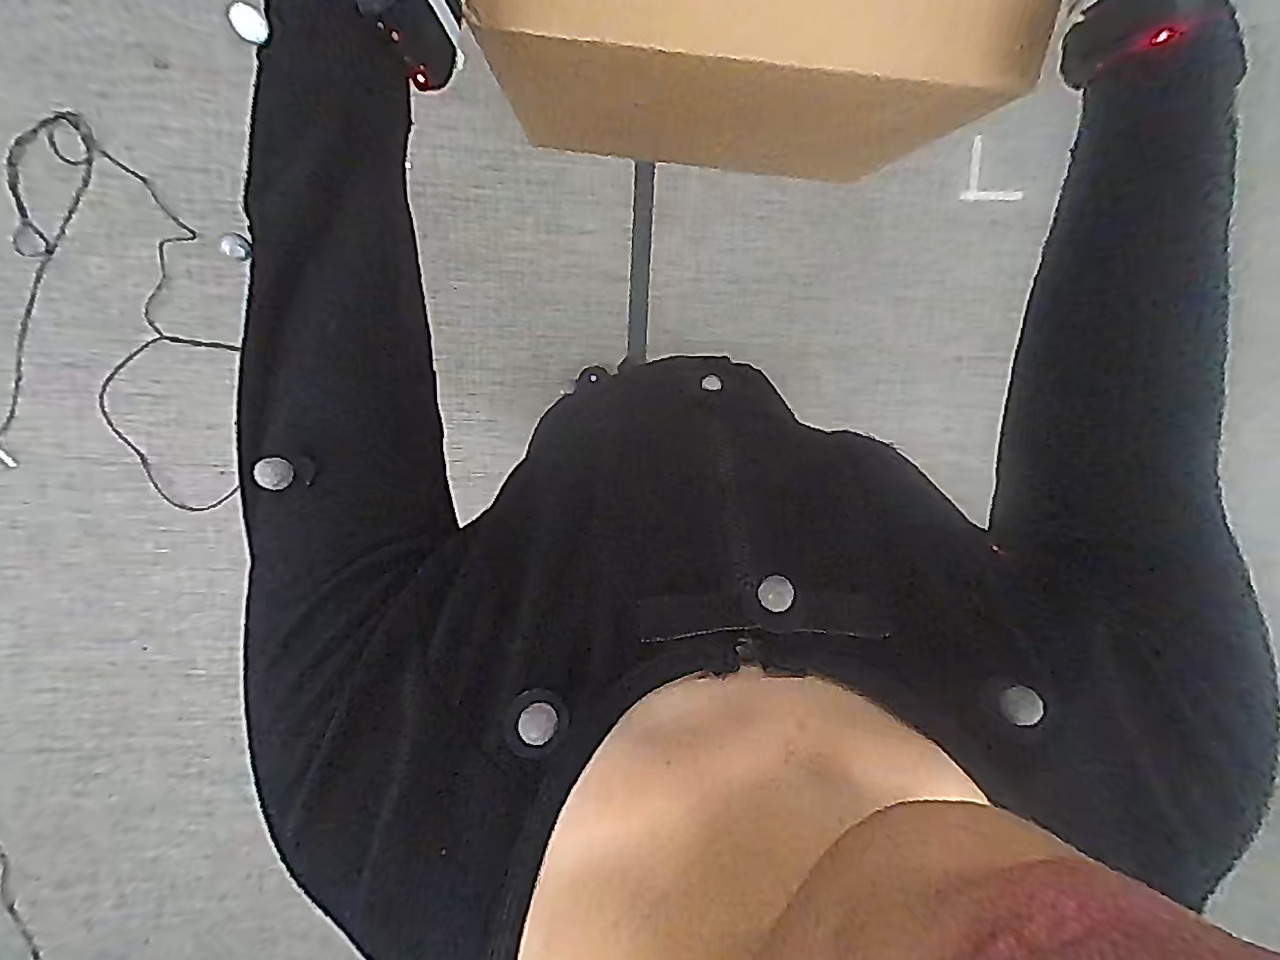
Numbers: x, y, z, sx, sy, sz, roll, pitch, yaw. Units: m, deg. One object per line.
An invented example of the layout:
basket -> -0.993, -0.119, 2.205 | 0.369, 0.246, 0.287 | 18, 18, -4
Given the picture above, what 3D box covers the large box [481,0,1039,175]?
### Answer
large box -> 0.084, -0.491, 0.483 | 0.408, 0.320, 0.320 | 3, 108, -5
